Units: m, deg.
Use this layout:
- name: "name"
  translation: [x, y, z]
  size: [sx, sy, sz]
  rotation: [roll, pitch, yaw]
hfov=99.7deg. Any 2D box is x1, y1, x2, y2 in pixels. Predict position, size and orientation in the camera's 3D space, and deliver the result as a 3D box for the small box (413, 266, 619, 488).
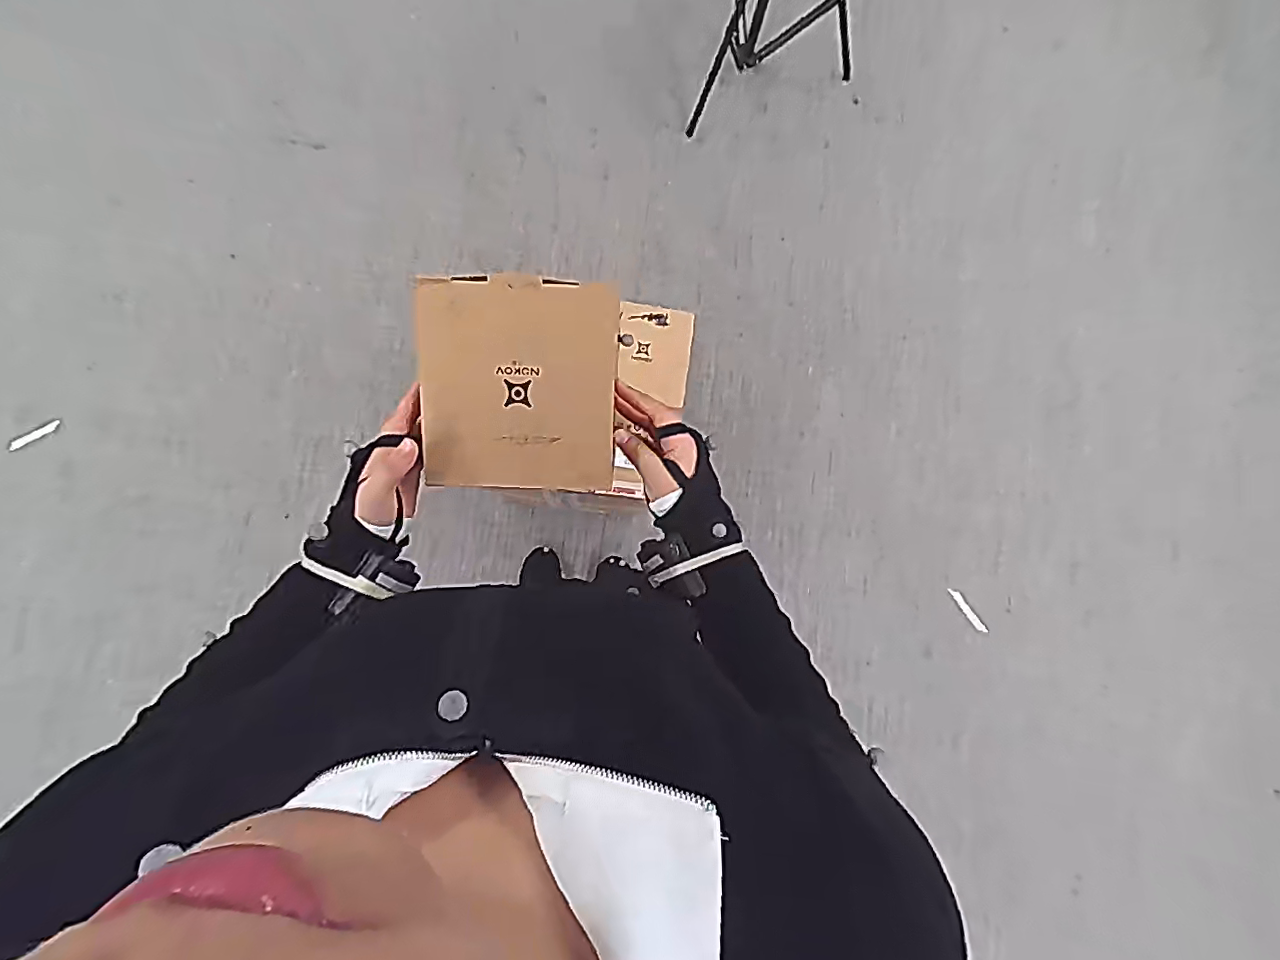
- name: "small box"
  translation: [-0.106, -0.099, 0.526]
  size: [0.168, 0.176, 0.179]
  rotation: [2, 104, -2]
